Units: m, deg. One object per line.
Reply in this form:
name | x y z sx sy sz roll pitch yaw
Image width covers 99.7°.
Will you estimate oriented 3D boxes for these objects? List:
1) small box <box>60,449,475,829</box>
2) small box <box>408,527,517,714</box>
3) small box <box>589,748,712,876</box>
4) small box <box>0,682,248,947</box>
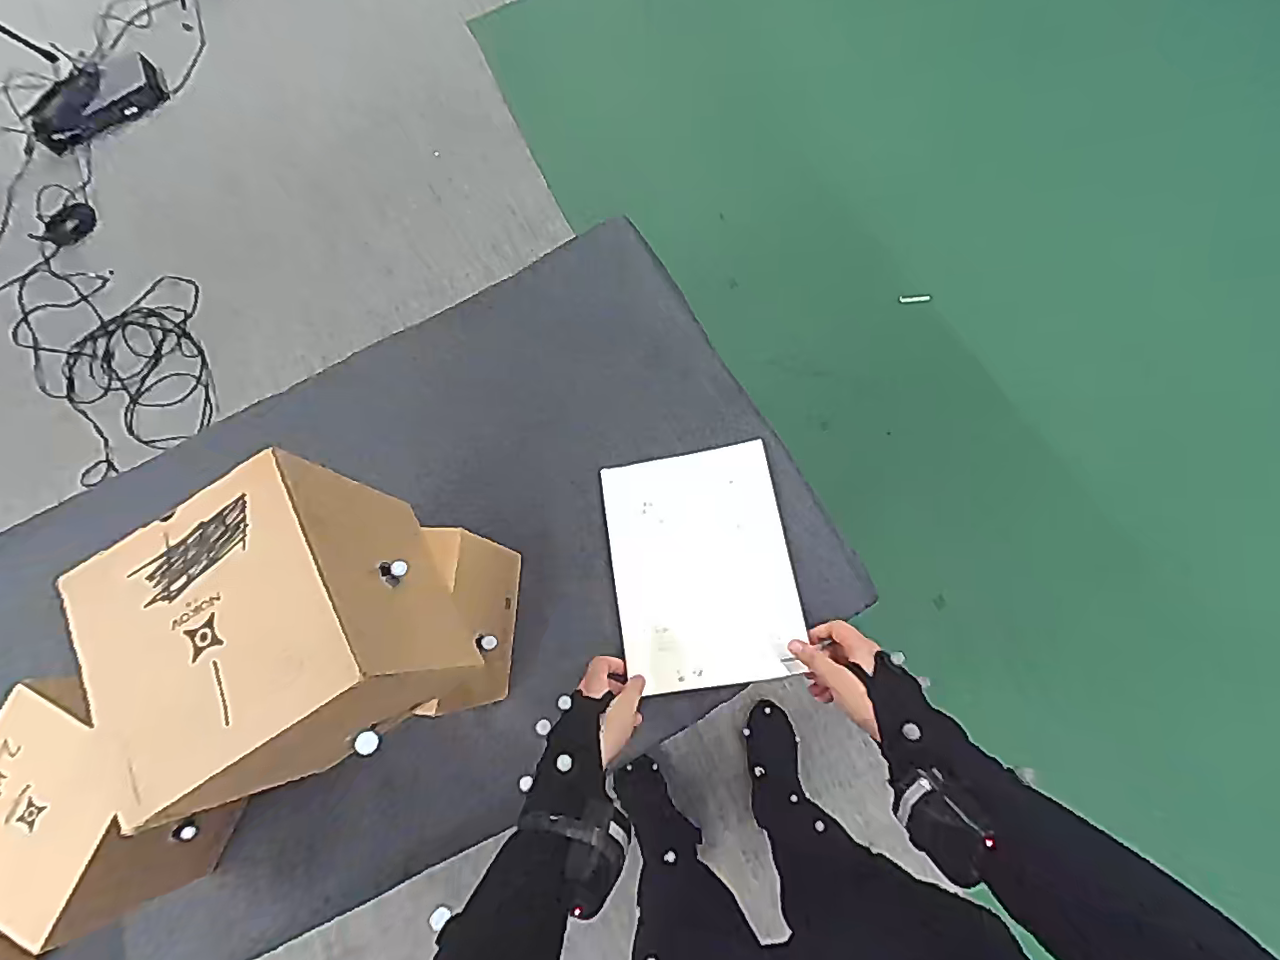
small box | -0.259 0.110 0.410 0.168 0.176 0.179 -33 73 -1
small box | -0.244 0.142 0.571 0.179 0.176 0.168 0 75 9
small box | 0.028 0.680 1.120 0.176 0.168 0.179 32 54 -15
small box | -0.541 0.315 0.566 0.179 0.176 0.168 20 78 13
